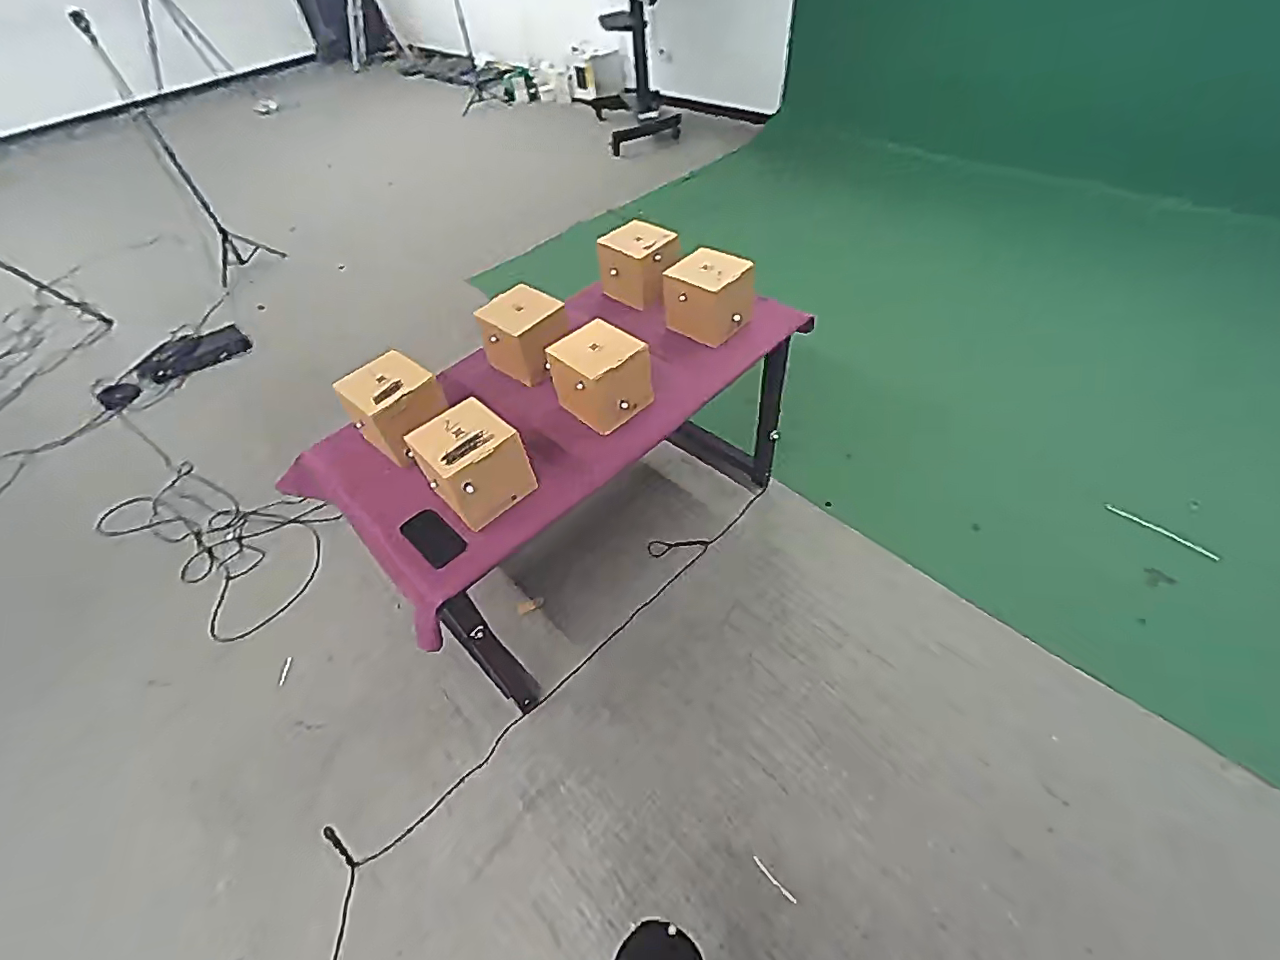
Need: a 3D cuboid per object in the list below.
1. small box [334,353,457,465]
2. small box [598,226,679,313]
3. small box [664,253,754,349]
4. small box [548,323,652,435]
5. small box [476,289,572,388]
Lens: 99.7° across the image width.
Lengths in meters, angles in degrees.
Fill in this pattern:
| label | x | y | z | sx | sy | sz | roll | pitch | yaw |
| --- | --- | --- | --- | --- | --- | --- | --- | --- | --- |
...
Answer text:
| label | x | y | z | sx | sy | sz | roll | pitch | yaw |
| --- | --- | --- | --- | --- | --- | --- | --- | --- | --- |
| small box | -0.561 | -0.161 | 1.262 | 0.179 | 0.176 | 0.168 | 31 | 58 | 29 |
| small box | 0.001 | -0.620 | 1.600 | 0.179 | 0.176 | 0.168 | 33 | 61 | 30 |
| small box | 0.185 | -0.478 | 1.452 | 0.179 | 0.176 | 0.168 | 33 | 61 | 31 |
| small box | -0.090 | -0.236 | 1.277 | 0.168 | 0.176 | 0.179 | -38 | 54 | -24 |
| small box | -0.294 | -0.368 | 1.415 | 0.179 | 0.176 | 0.168 | 32 | 60 | 29 |
